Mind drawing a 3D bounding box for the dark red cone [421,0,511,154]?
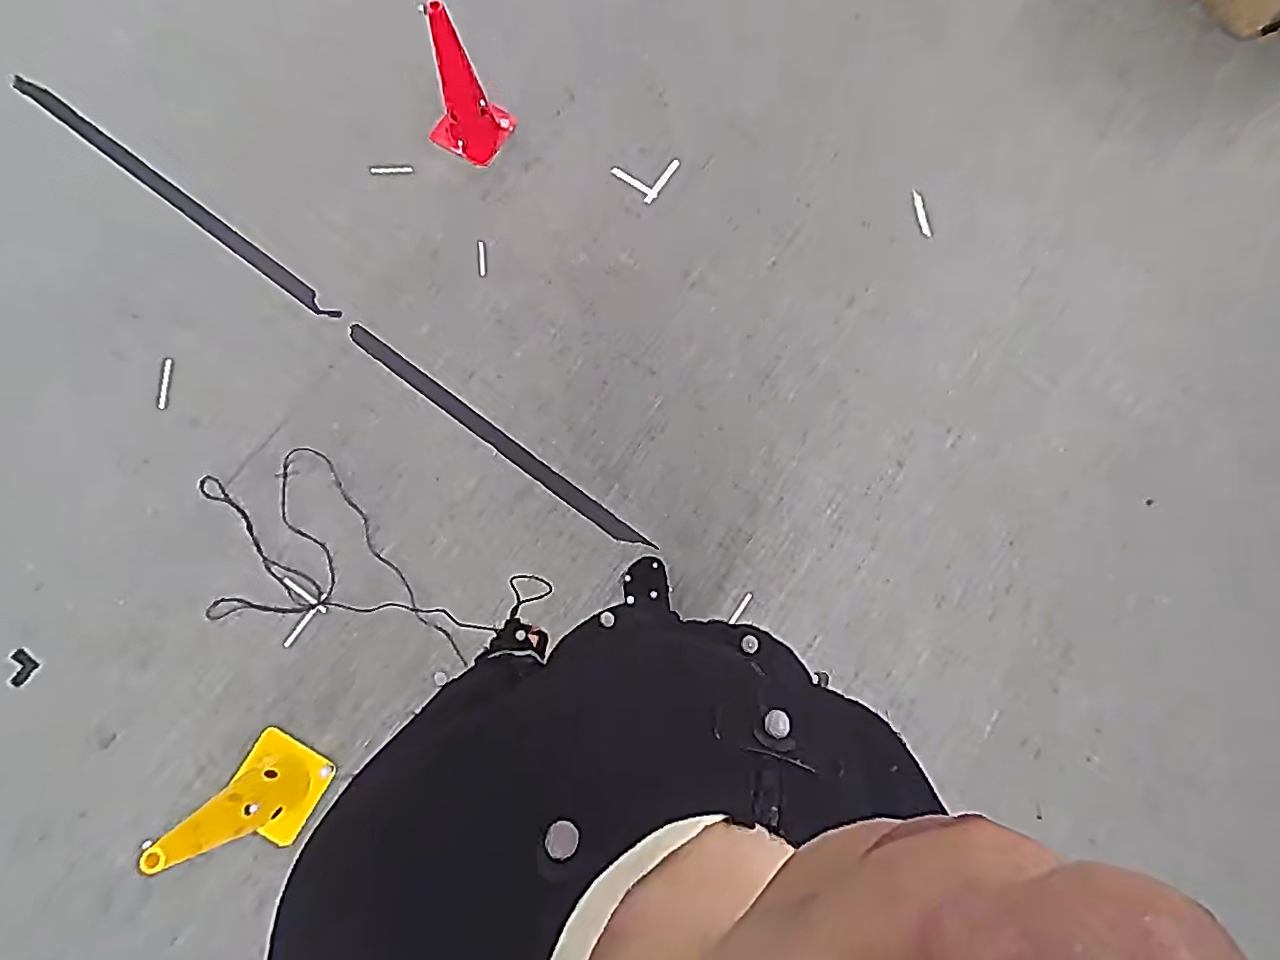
[{"bbox_3d":[-0.495,-1.089,1.422,0.202,0.394,0.201,28,80,4],"label":"dark red cone"}]
